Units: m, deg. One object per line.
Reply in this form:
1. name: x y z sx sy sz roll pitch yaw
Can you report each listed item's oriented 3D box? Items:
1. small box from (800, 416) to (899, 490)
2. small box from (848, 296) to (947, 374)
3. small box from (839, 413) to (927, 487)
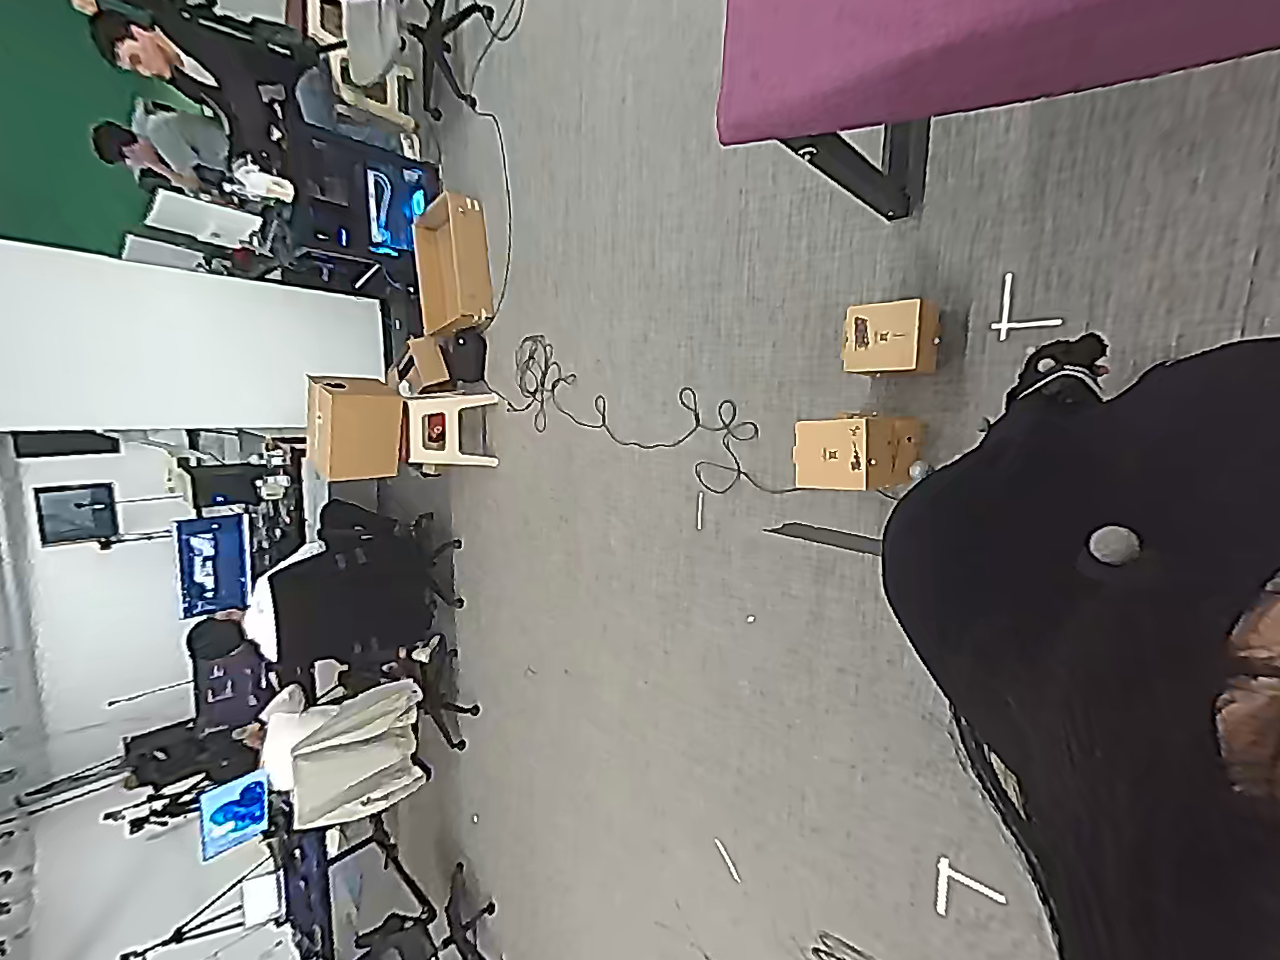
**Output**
1. small box: 0.509 -0.067 1.315 0.179 0.176 0.168 3 96 44
2. small box: 0.650 -0.359 1.366 0.179 0.176 0.168 7 100 42
3. small box: 0.631 -0.086 1.423 0.179 0.176 0.168 16 105 43
